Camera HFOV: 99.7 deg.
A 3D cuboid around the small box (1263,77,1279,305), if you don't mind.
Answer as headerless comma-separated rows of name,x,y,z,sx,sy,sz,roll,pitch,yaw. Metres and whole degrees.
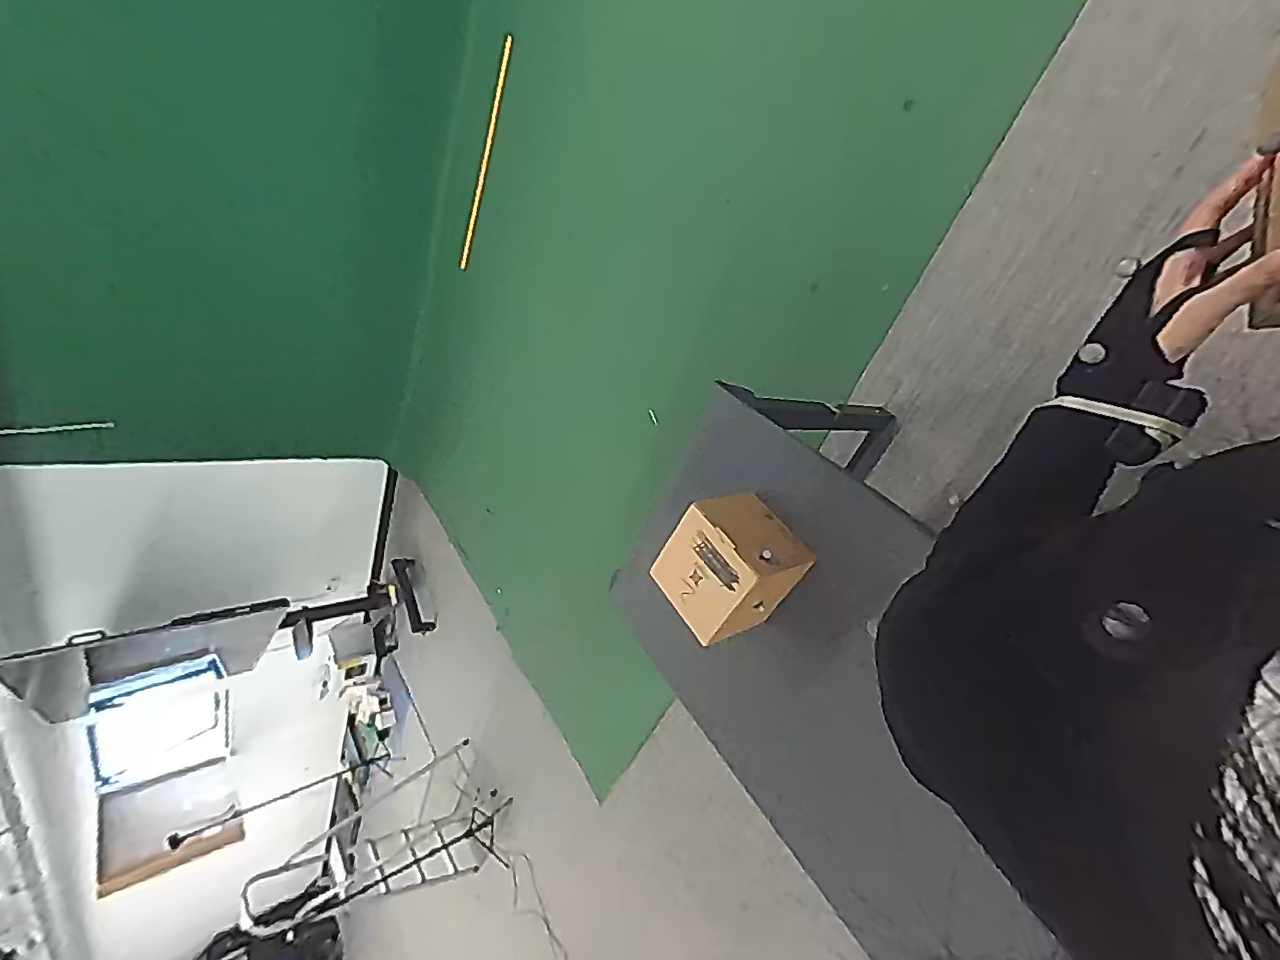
small box,0.477,-0.201,0.292,0.168,0.176,0.179,1,96,42
